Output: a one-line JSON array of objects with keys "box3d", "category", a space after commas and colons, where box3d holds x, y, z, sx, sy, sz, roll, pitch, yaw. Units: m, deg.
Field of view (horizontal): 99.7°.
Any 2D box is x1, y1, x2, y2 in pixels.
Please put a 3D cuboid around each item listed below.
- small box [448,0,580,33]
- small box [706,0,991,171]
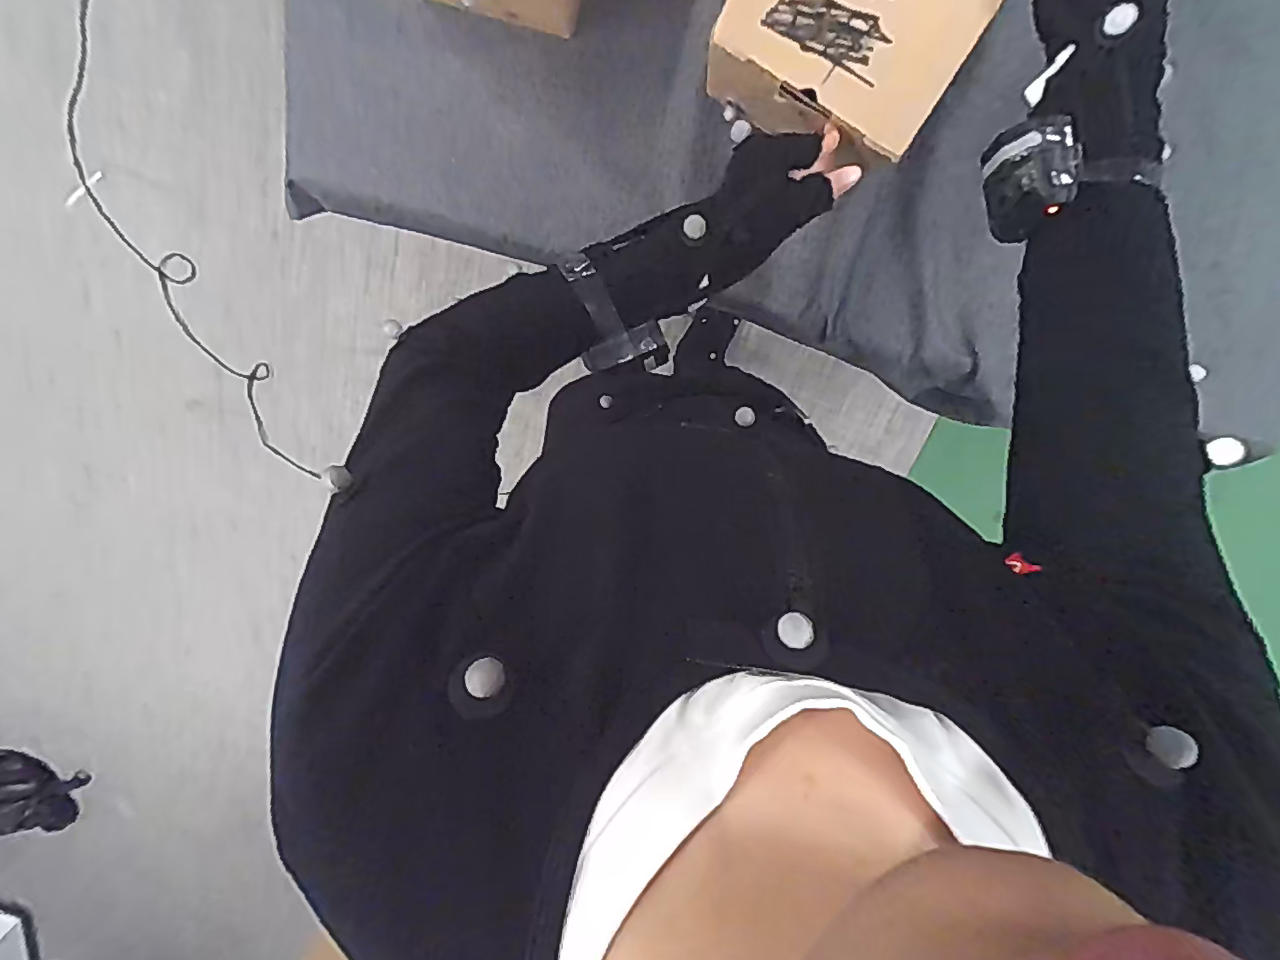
[{"box3d": [-0.133, -0.520, 0.452, 0.168, 0.176, 0.179, 15, 113, 0], "category": "small box"}, {"box3d": [0.168, -0.379, 0.436, 0.168, 0.176, 0.179, 27, 114, -5], "category": "small box"}]
